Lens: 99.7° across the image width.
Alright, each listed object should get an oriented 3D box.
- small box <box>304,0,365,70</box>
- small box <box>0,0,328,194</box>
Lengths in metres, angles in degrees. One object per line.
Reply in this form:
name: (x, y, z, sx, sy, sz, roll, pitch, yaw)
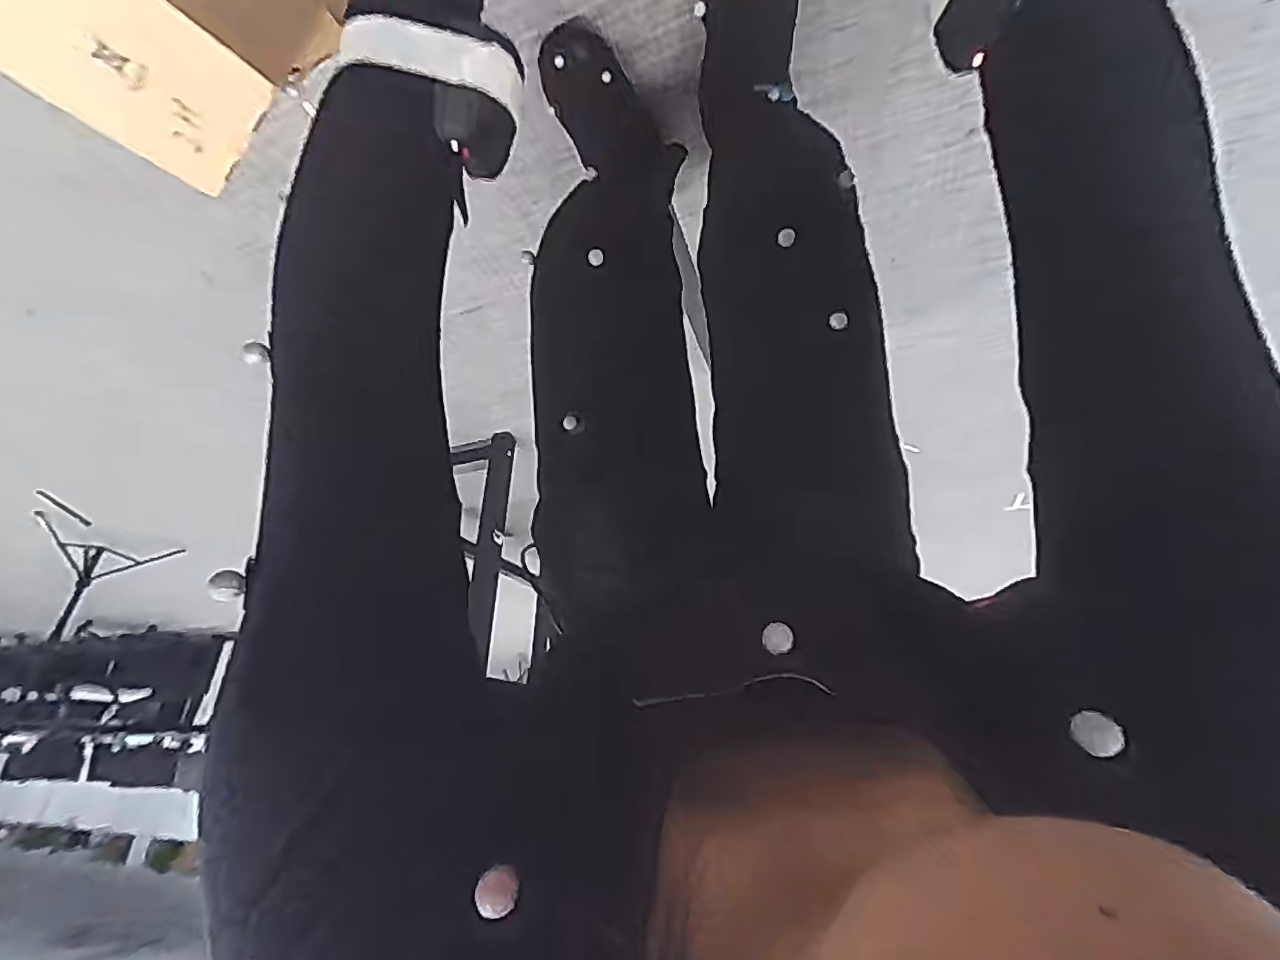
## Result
small box: (-0.403, -0.553, 0.554, 0.168, 0.176, 0.179, -10, 152, 21)
small box: (-0.414, -0.409, 0.474, 0.168, 0.176, 0.179, -15, 152, 33)
